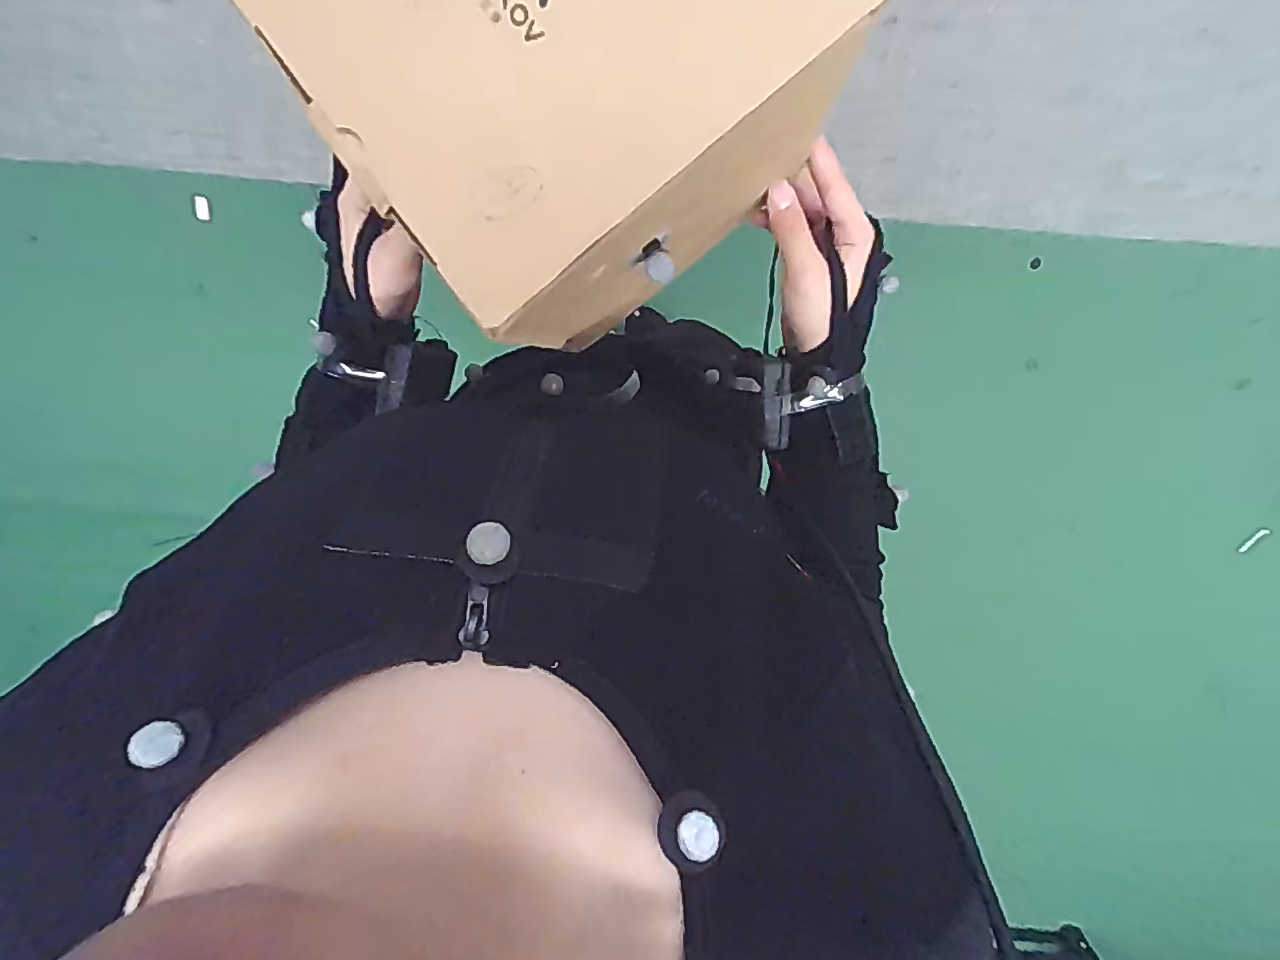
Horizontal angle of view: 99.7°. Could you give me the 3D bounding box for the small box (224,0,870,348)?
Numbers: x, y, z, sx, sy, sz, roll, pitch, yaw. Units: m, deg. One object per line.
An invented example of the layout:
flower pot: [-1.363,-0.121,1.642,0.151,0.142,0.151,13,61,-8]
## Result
small box: [-0.029,-0.180,0.261,0.179,0.176,0.168,-36,95,12]
